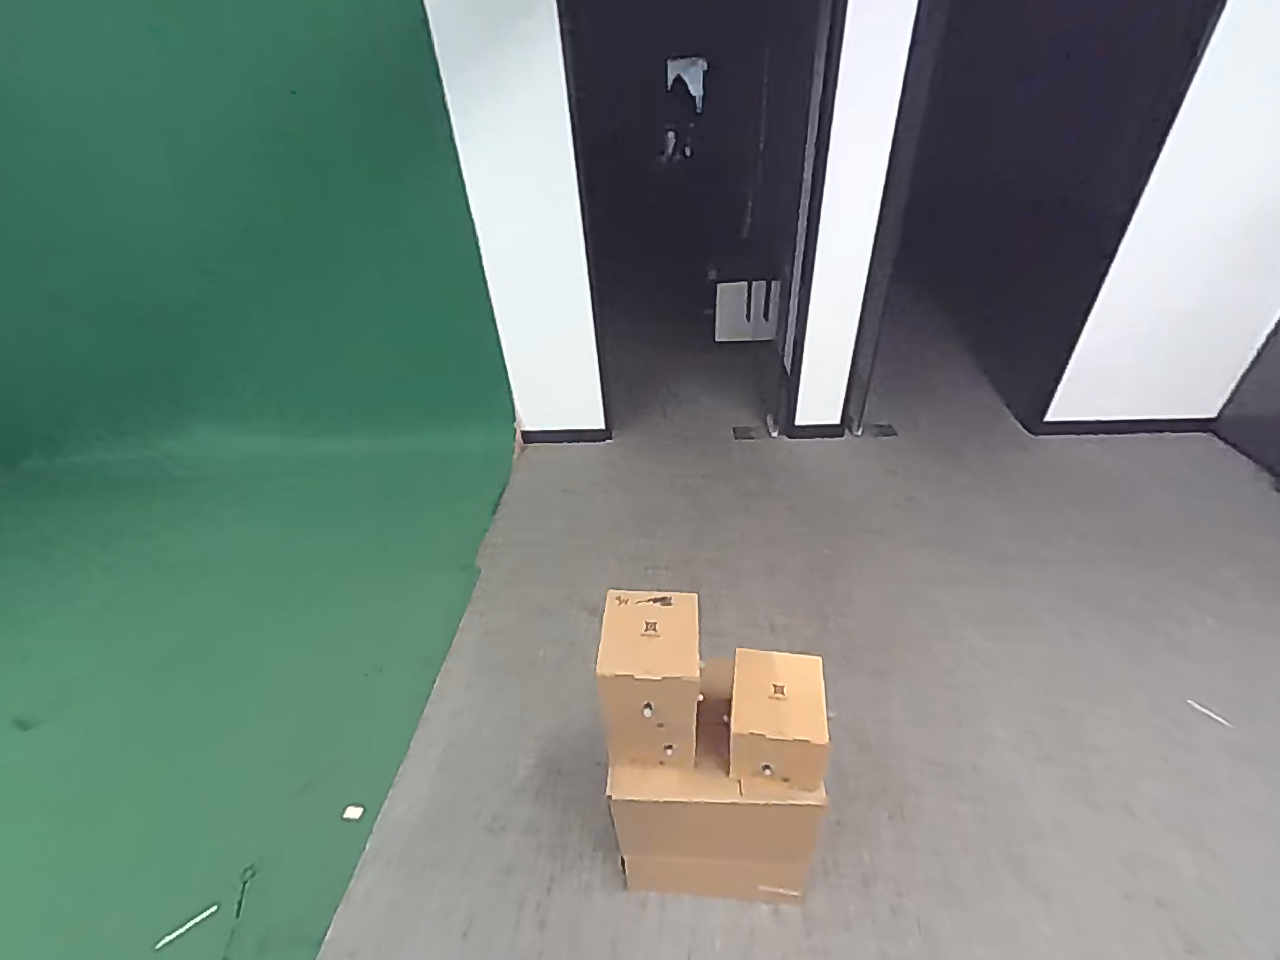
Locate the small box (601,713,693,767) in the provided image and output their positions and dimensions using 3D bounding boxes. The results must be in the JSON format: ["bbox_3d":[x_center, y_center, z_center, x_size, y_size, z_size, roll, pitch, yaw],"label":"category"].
[{"bbox_3d":[0.022,0.440,1.068,0.168,0.176,0.179,2,37,5],"label":"small box"}]

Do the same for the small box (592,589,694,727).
[{"bbox_3d":[0.013,0.317,0.960,0.168,0.176,0.179,1,38,3],"label":"small box"}]

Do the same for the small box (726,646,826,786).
[{"bbox_3d":[0.253,0.447,1.033,0.168,0.176,0.179,2,37,11],"label":"small box"}]
